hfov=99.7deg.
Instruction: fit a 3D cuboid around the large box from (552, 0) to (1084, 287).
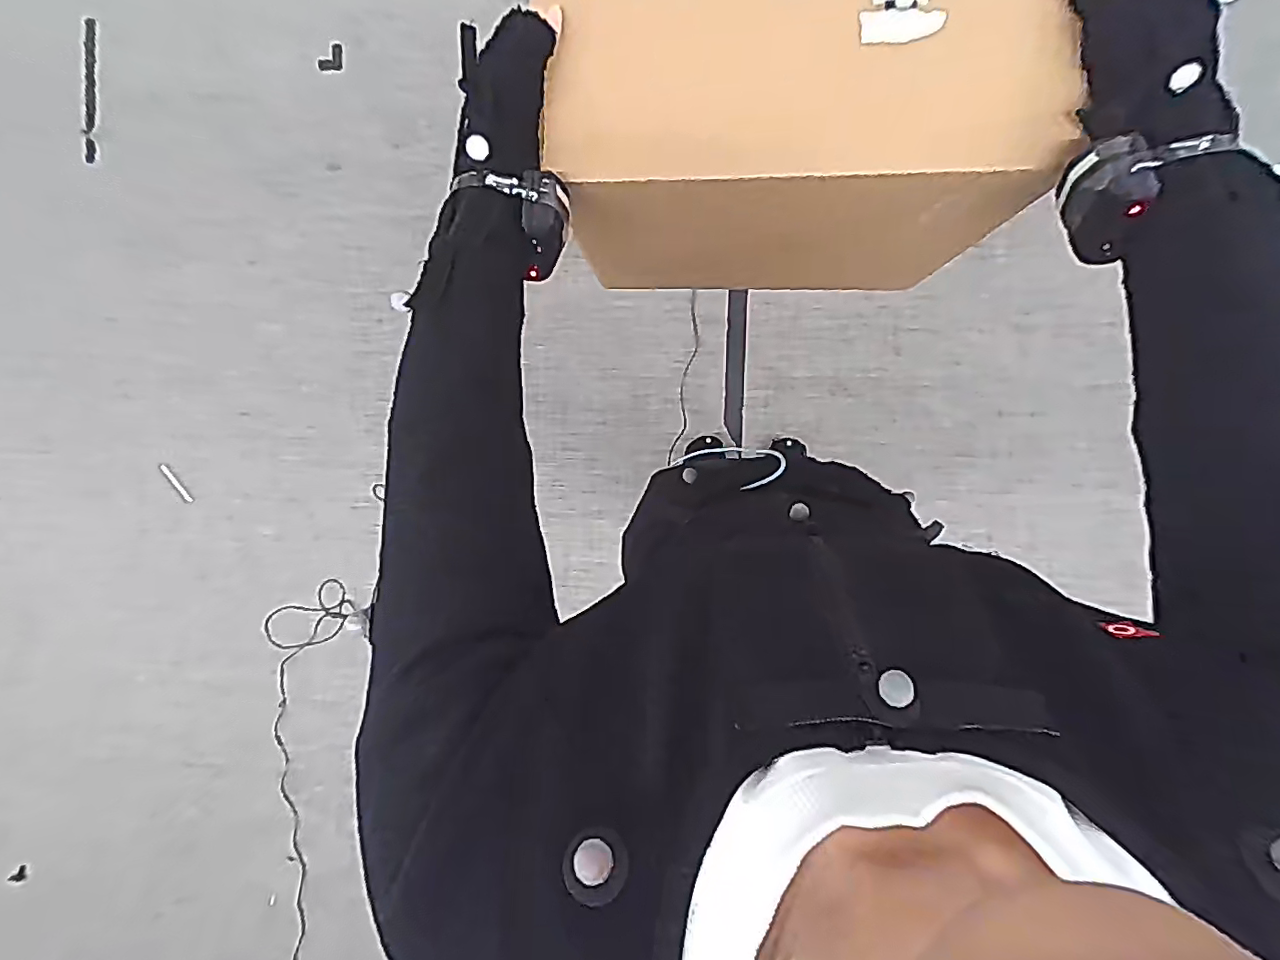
[{"bbox_3d":[0.137,-0.402,0.556,0.408,0.320,0.320,1,95,4],"label":"large box"}]
